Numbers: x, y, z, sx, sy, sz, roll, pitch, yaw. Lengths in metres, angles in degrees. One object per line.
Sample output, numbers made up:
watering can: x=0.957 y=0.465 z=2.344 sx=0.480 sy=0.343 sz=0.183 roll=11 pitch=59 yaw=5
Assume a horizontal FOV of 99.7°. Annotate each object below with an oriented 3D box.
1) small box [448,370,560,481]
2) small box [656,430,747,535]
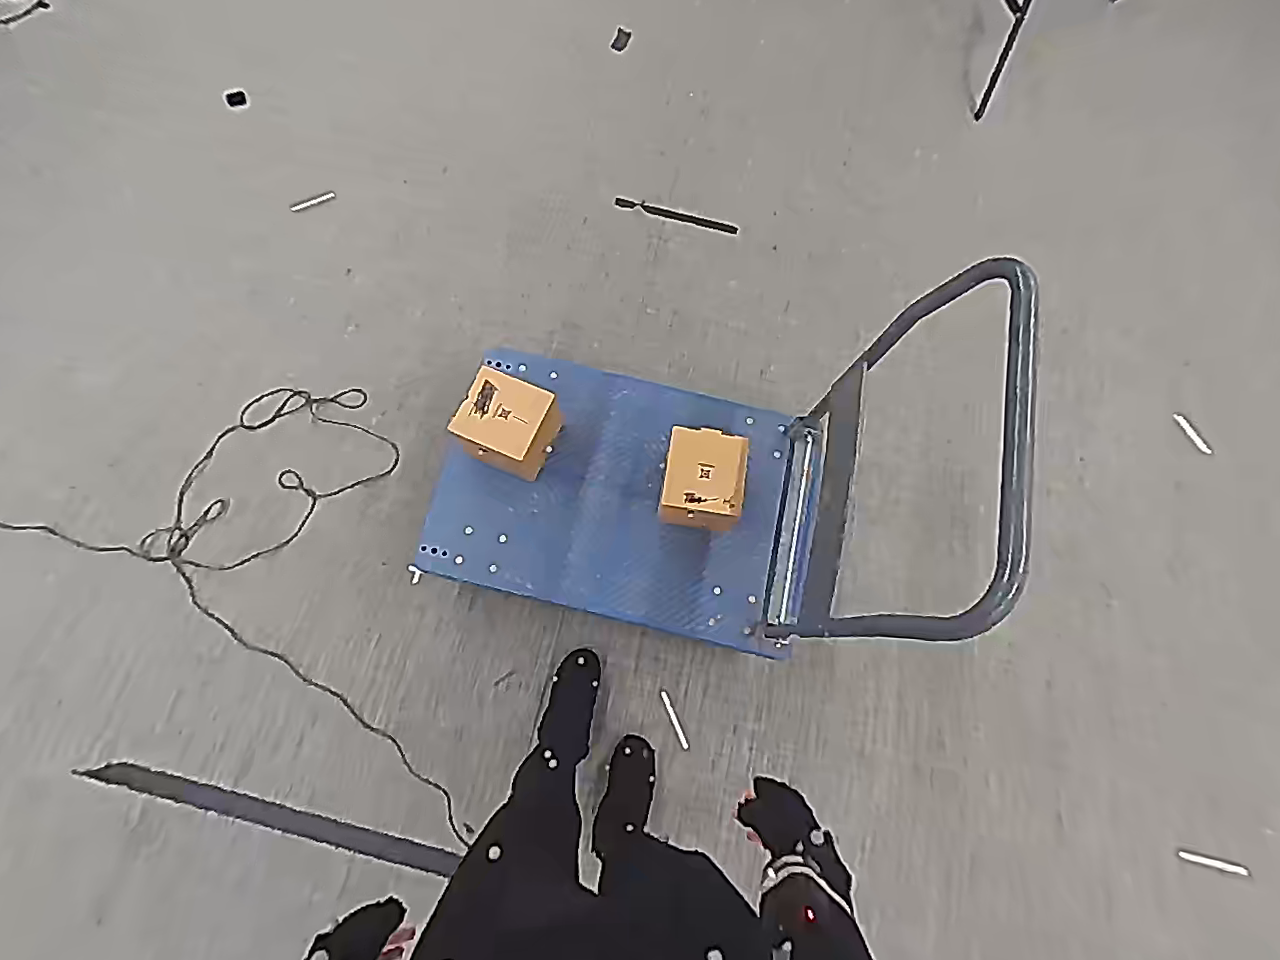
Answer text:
small box: x=-0.296 y=-0.114 z=1.219 sx=0.179 sy=0.176 sz=0.168 roll=23 pitch=74 yaw=4
small box: x=0.131 y=0.011 z=1.198 sx=0.168 sy=0.176 sz=0.179 roll=9 pitch=72 yaw=1
